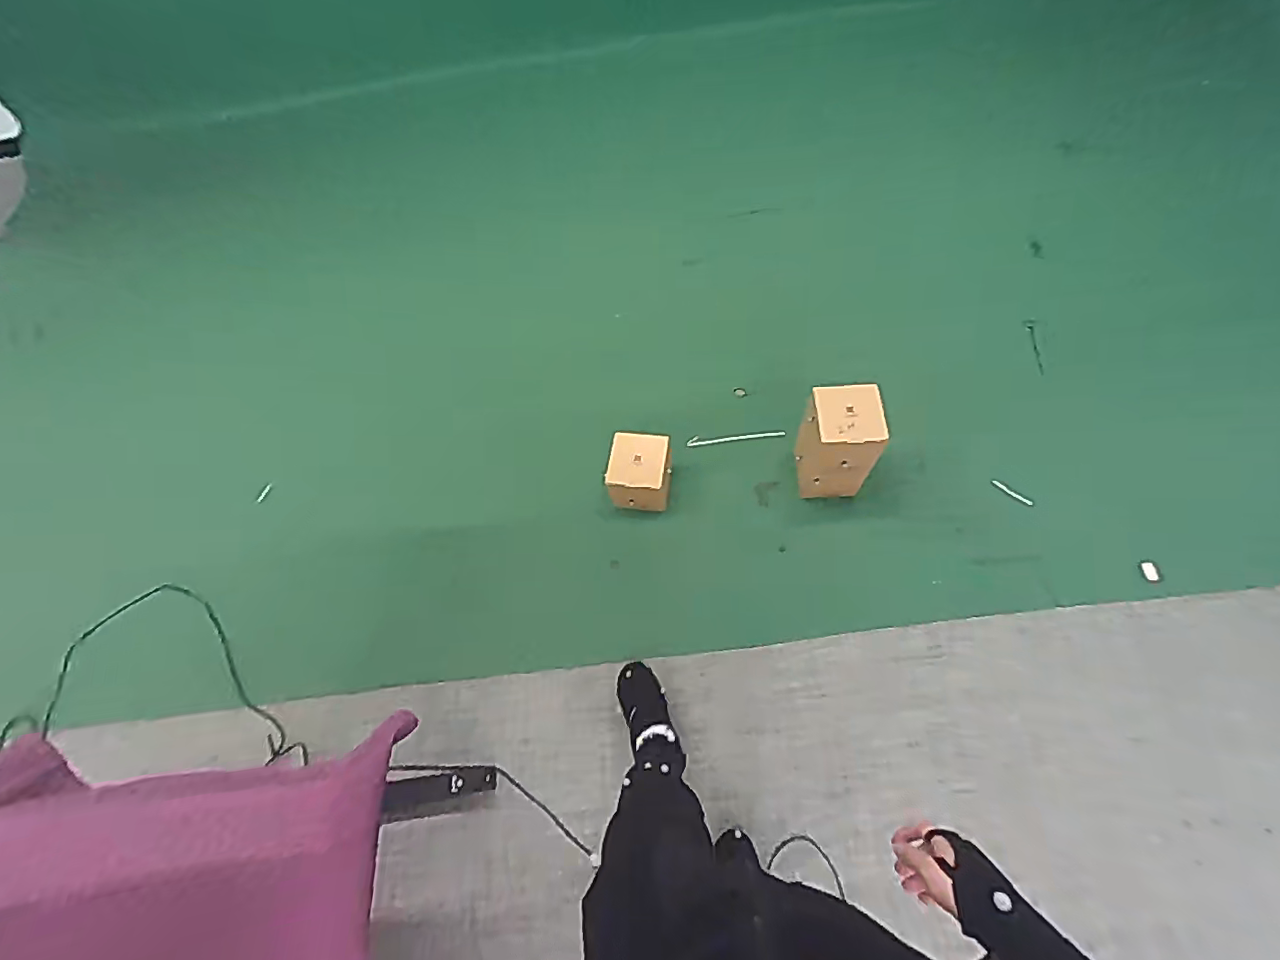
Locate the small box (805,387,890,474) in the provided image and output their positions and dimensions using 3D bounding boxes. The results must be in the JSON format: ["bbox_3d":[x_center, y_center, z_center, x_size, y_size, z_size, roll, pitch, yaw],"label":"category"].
[{"bbox_3d":[0.549,-0.130,1.457,0.168,0.176,0.179,-2,64,6],"label":"small box"}]

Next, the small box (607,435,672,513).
[{"bbox_3d":[0.005,-0.017,1.650,0.168,0.176,0.179,6,66,9],"label":"small box"}]
